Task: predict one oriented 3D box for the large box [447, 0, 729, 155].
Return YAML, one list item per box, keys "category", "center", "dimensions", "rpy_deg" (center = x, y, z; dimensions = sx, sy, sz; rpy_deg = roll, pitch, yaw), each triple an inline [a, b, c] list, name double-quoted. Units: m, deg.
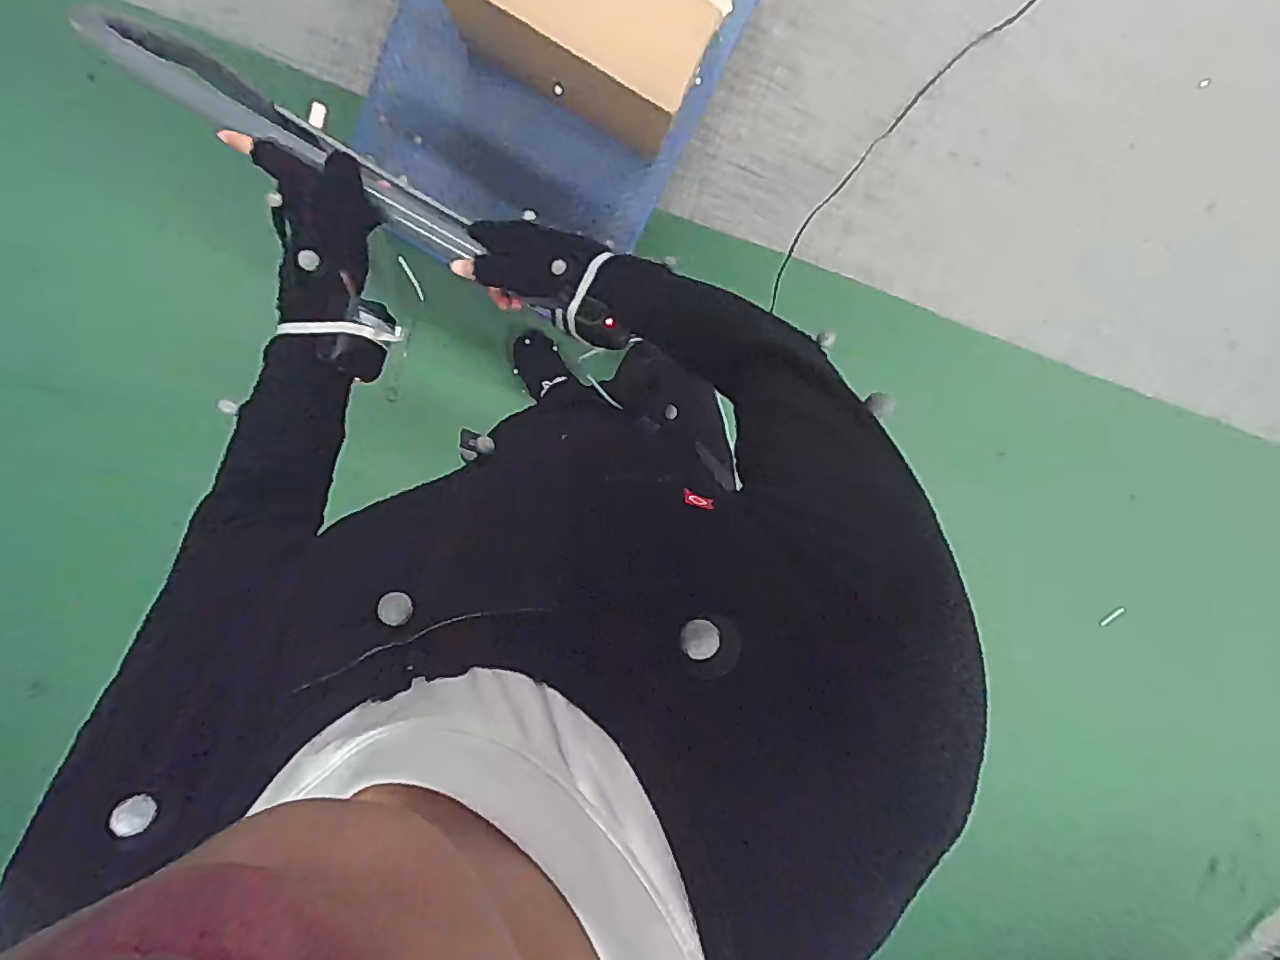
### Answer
- category: "large box"
  center: [-0.065, -0.819, 0.888]
  dimensions: [0.408, 0.320, 0.320]
  rpy_deg: [26, 104, -11]
